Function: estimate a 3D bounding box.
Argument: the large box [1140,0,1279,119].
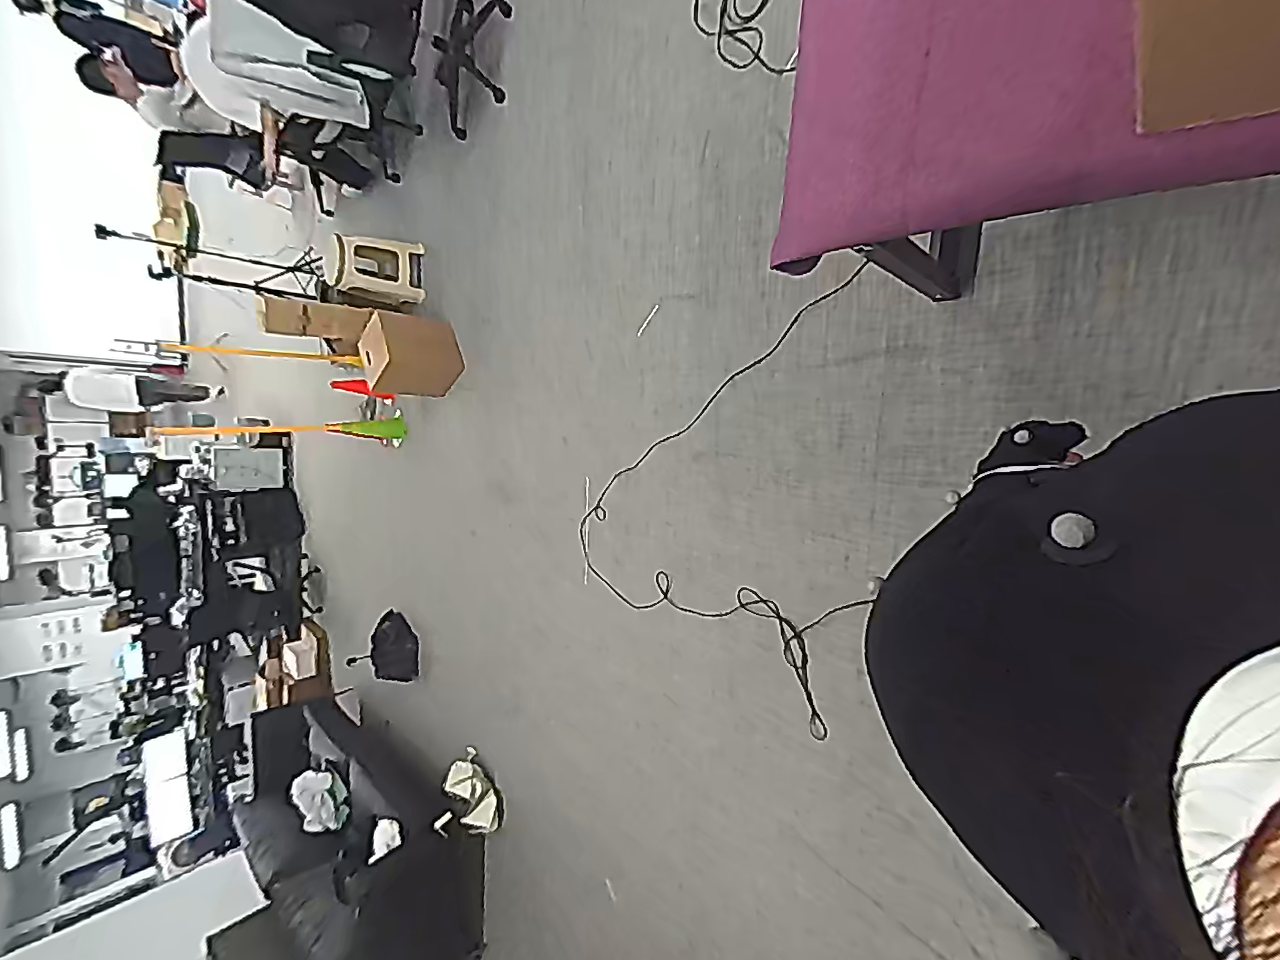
[{"bbox_3d":[0.557,-0.537,0.333,0.320,0.320,0.408,13,102,42],"label":"large box"}]
